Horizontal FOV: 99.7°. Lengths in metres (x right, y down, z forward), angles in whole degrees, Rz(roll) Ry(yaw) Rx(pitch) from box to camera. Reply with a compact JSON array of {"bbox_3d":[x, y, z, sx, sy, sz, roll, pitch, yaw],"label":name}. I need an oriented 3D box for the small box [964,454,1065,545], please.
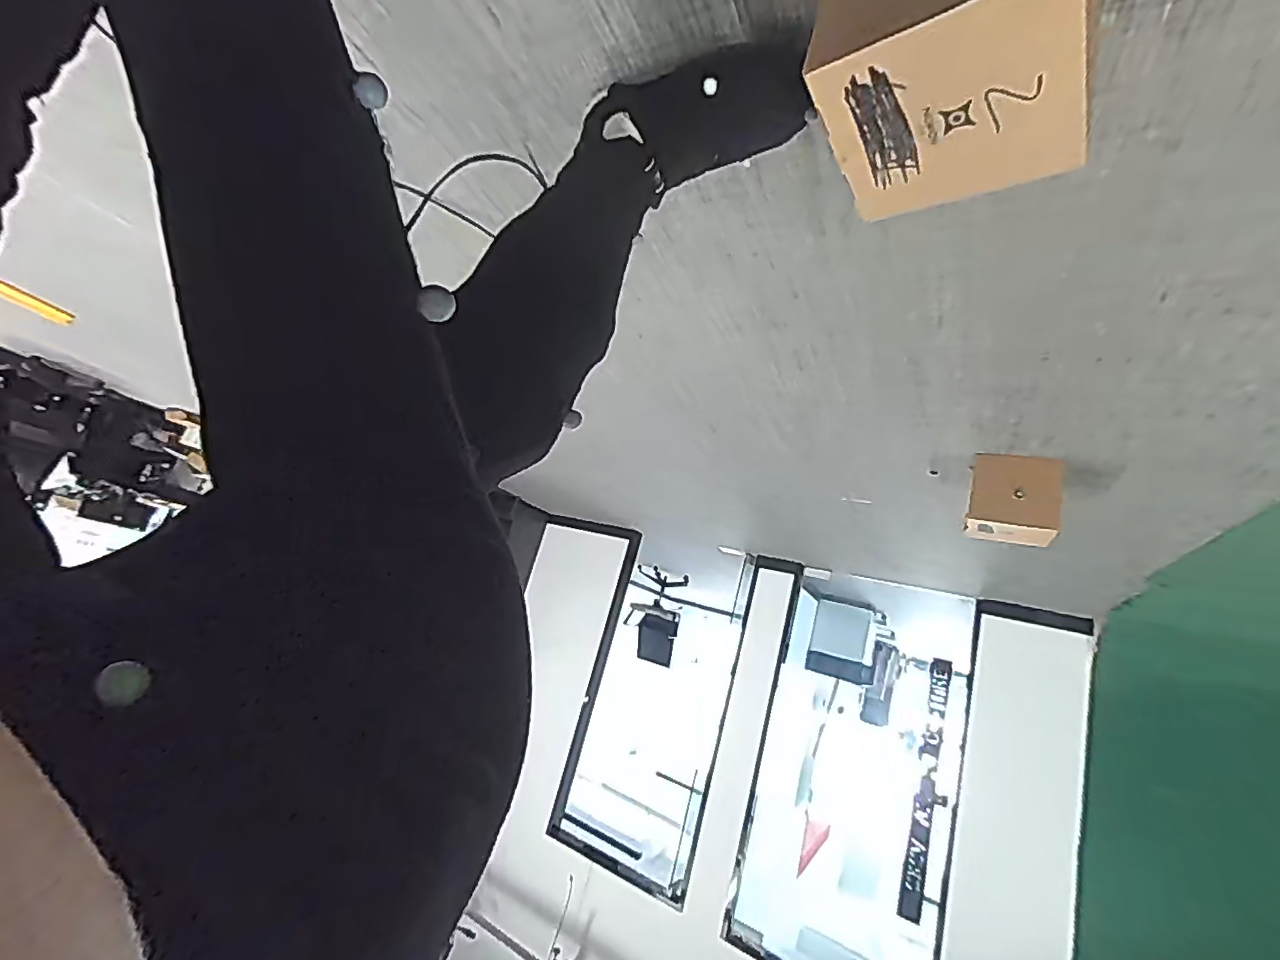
[{"bbox_3d":[0.897,0.045,1.303,0.179,0.176,0.168,6,164,29],"label":"small box"}]
